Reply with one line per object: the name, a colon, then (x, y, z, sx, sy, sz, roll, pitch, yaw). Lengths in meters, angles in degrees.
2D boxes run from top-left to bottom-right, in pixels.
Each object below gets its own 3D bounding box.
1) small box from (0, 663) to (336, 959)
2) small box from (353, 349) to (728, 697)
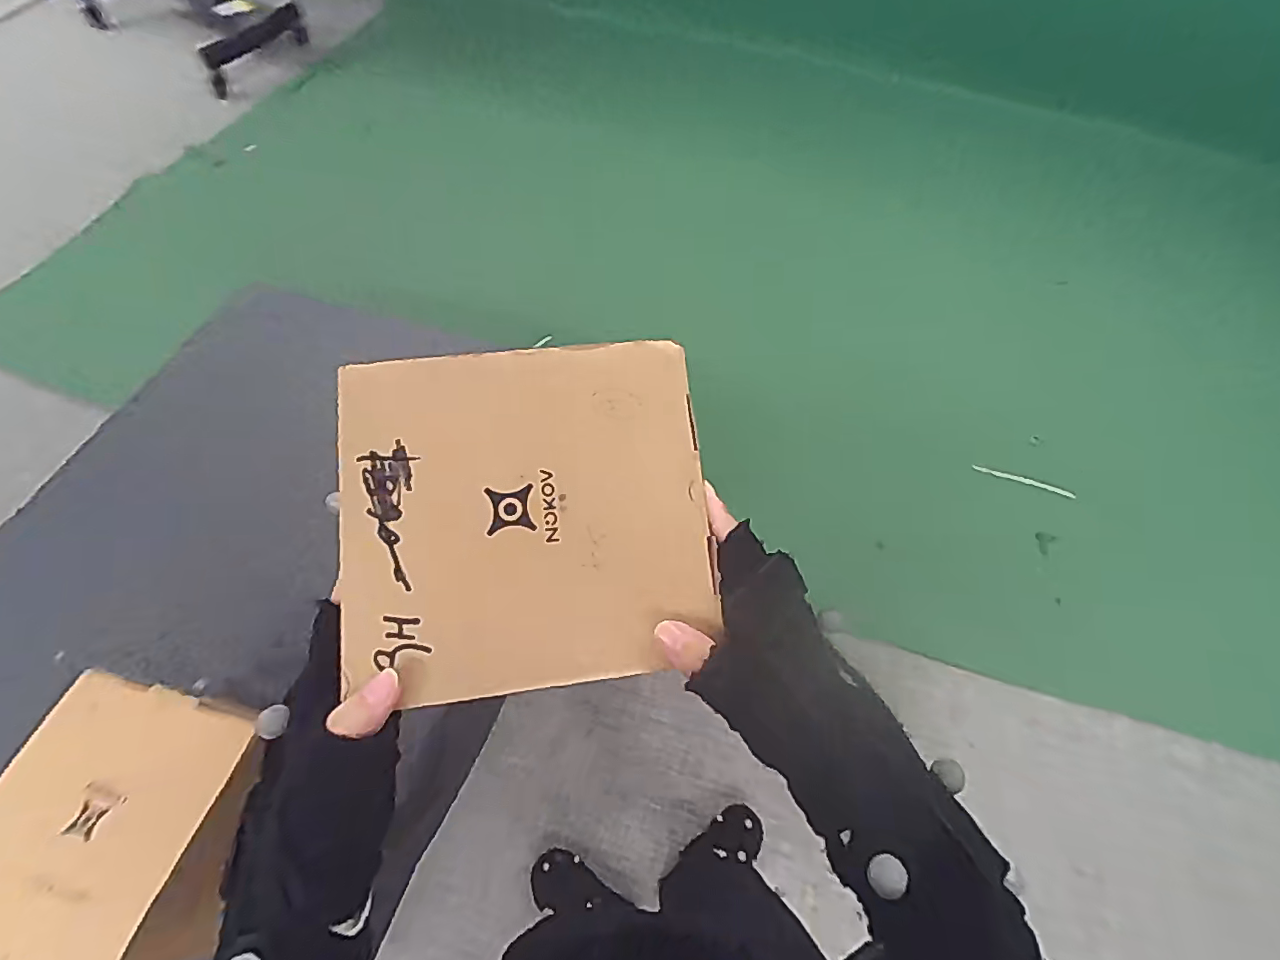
small box: (-0.411, 0.288, 0.485, 0.168, 0.176, 0.179, 14, 62, 6)
small box: (-0.057, 0.030, 0.345, 0.179, 0.176, 0.168, -4, 77, -6)
